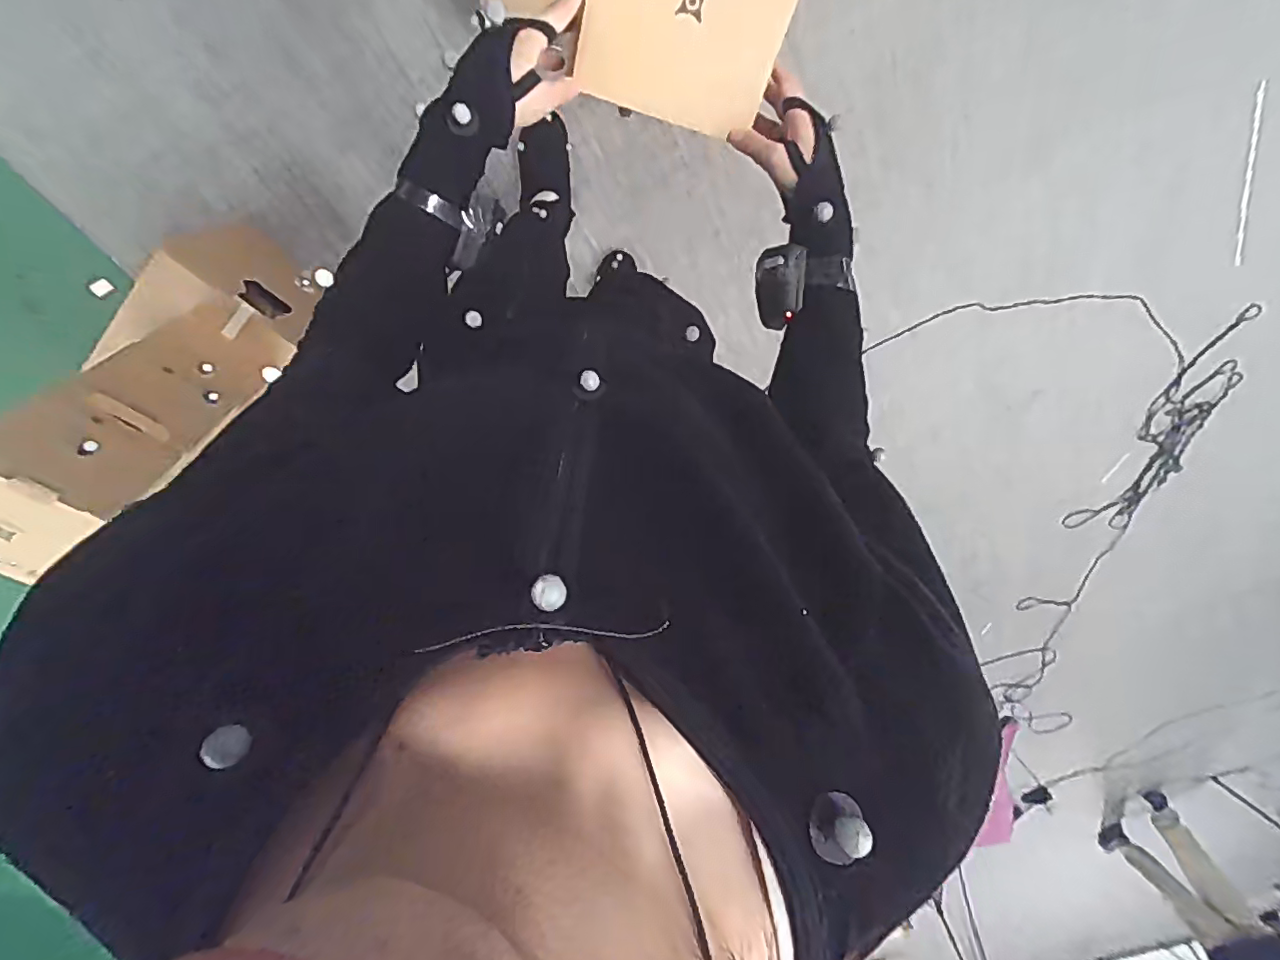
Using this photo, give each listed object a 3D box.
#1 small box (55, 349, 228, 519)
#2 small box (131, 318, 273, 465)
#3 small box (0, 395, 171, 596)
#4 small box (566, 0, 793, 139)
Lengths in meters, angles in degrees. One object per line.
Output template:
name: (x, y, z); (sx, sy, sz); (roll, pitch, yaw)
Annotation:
small box: (-0.814, -0.078, 0.870); (0.179, 0.176, 0.168); (-39, 121, 19)
small box: (-0.834, -0.169, 1.005); (0.168, 0.176, 0.179); (-38, 121, 18)
small box: (-0.799, 0.016, 0.736); (0.179, 0.176, 0.168); (-39, 121, 17)
small box: (0.032, -0.438, 0.476); (0.168, 0.176, 0.179); (8, 129, -16)
